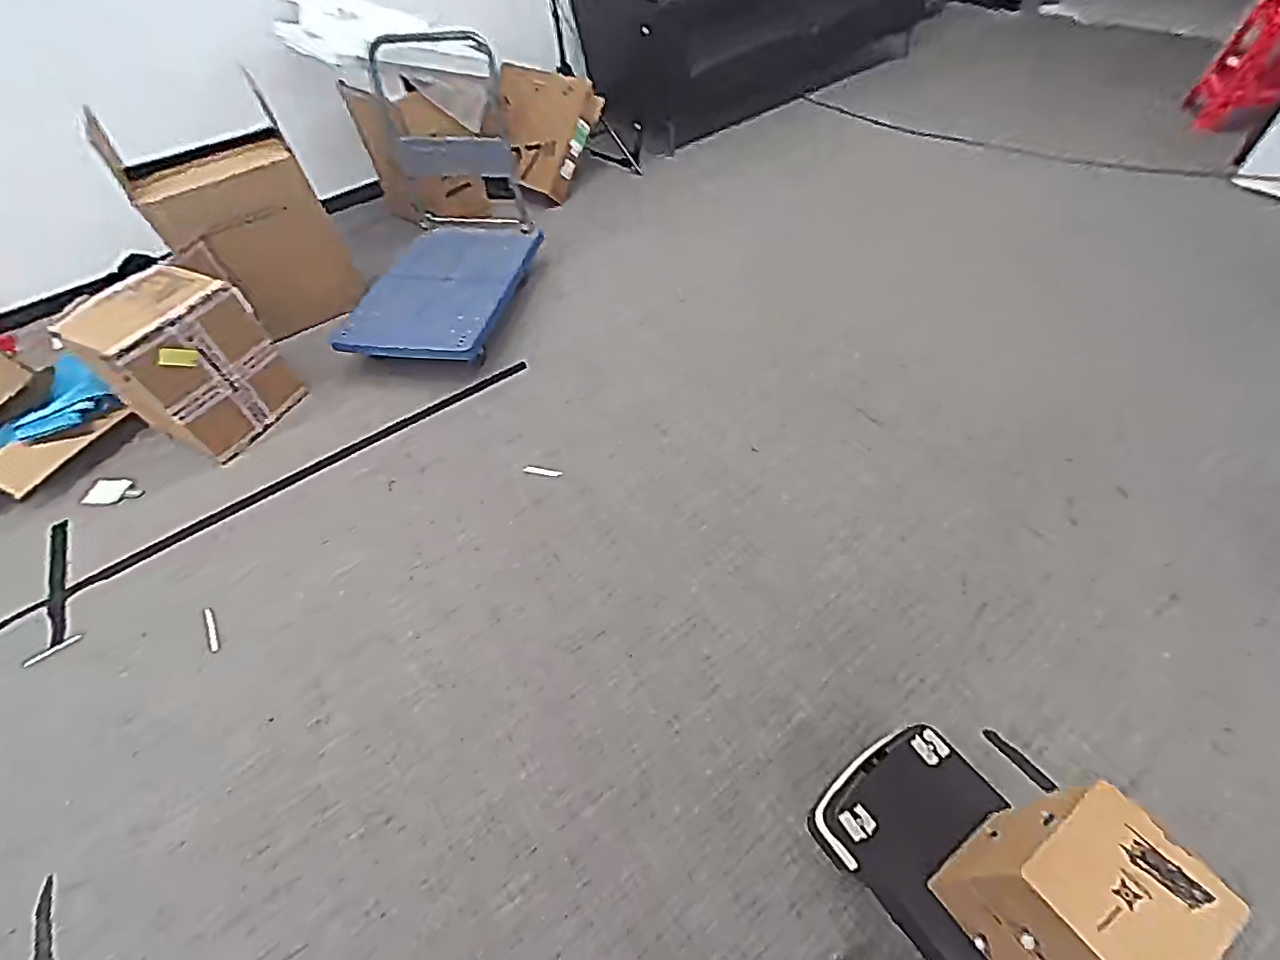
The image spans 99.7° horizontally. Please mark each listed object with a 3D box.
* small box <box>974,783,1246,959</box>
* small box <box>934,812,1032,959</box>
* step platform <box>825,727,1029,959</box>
[{"bbox_3d":[0.568,0.524,0.683,0.179,0.176,0.168,-31,54,-17],"label":"small box"},{"bbox_3d":[0.581,0.629,0.809,0.179,0.176,0.168,-30,54,-17],"label":"small box"},{"bbox_3d":[0.658,0.780,0.903,0.286,0.204,0.684,-31,54,-18],"label":"step platform"}]
